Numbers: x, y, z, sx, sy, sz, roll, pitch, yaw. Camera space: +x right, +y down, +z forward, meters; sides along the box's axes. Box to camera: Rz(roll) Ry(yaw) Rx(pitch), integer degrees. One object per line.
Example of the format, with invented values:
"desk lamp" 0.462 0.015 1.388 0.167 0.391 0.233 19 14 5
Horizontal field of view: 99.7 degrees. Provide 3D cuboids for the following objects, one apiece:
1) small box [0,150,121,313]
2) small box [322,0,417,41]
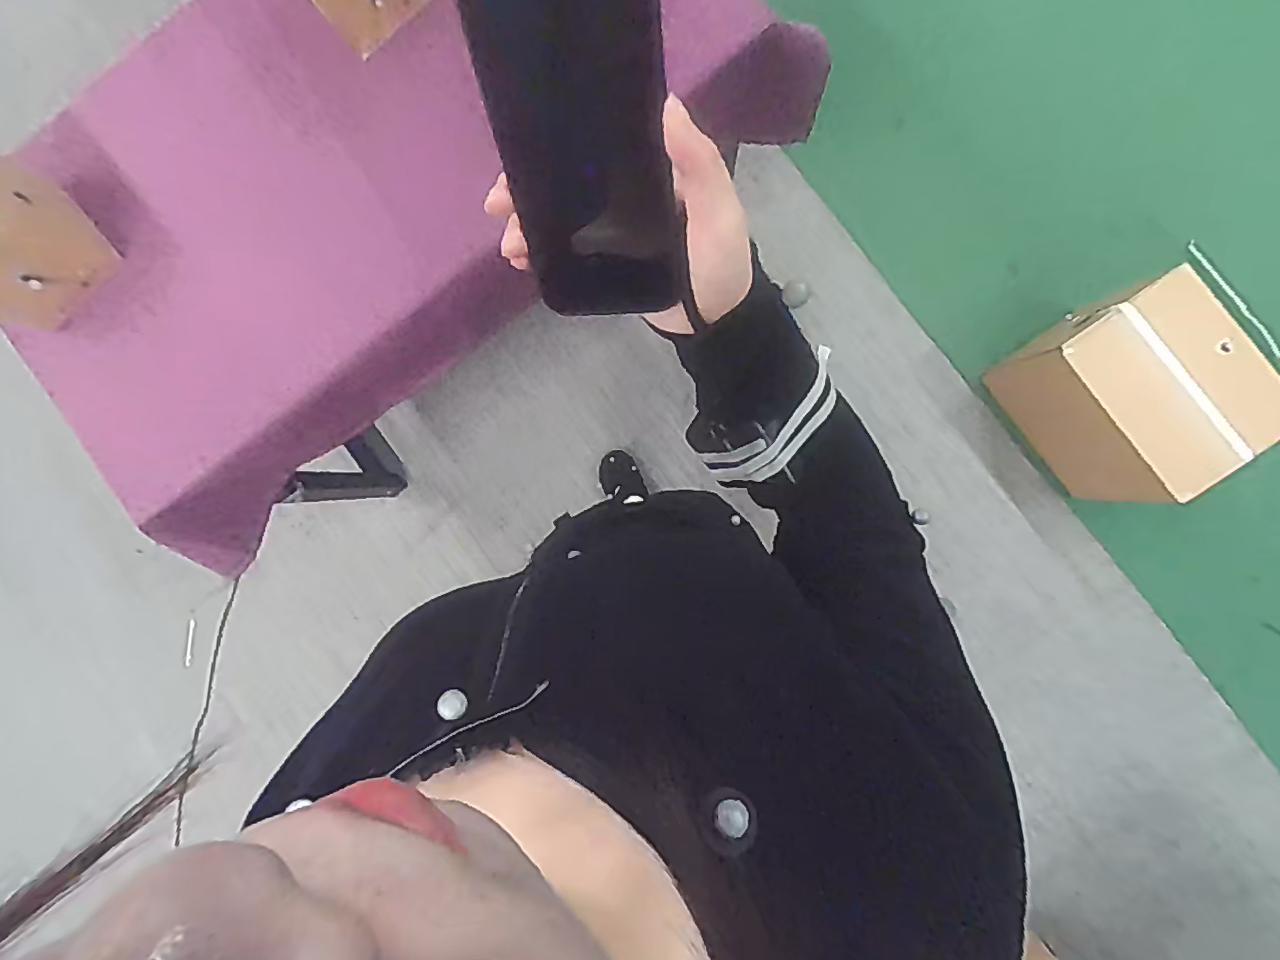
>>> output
"small box" -0.911 -0.358 0.761 0.168 0.176 0.179 -42 88 3
"small box" -0.408 -0.756 0.719 0.168 0.176 0.179 -39 88 4
